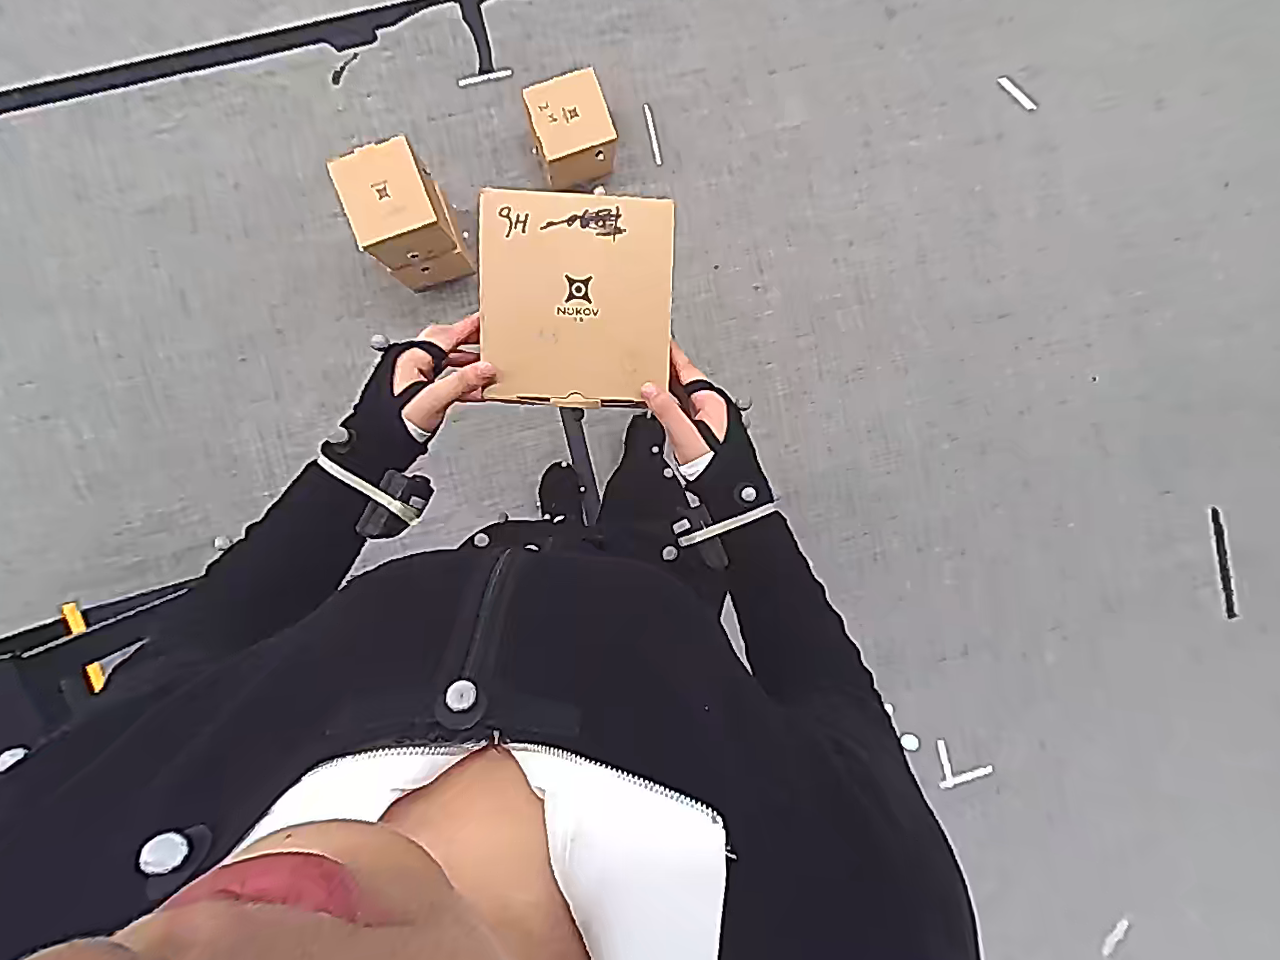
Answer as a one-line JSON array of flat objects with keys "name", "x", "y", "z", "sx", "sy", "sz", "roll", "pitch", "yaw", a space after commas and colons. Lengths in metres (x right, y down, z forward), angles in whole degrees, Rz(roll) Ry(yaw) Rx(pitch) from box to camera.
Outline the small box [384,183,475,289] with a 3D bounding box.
[{"name": "small box", "x": -0.524, "y": -0.582, "z": 1.315, "sx": 0.179, "sy": 0.176, "sz": 0.168, "roll": -18, "pitch": 97, "yaw": -3}]

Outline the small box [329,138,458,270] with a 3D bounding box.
[{"name": "small box", "x": -0.514, "y": -0.578, "z": 1.153, "sx": 0.168, "sy": 0.176, "sz": 0.179, "roll": -21, "pitch": 98, "yaw": -1}]

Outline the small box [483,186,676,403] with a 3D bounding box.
[{"name": "small box", "x": -0.058, "y": -0.169, "z": 0.547, "sx": 0.168, "sy": 0.176, "sz": 0.179, "roll": 1, "pitch": 97, "yaw": -4}]

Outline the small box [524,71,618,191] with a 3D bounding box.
[{"name": "small box", "x": -0.167, "y": -0.842, "z": 1.322, "sx": 0.179, "sy": 0.176, "sz": 0.168, "roll": -20, "pitch": 96, "yaw": -3}]
